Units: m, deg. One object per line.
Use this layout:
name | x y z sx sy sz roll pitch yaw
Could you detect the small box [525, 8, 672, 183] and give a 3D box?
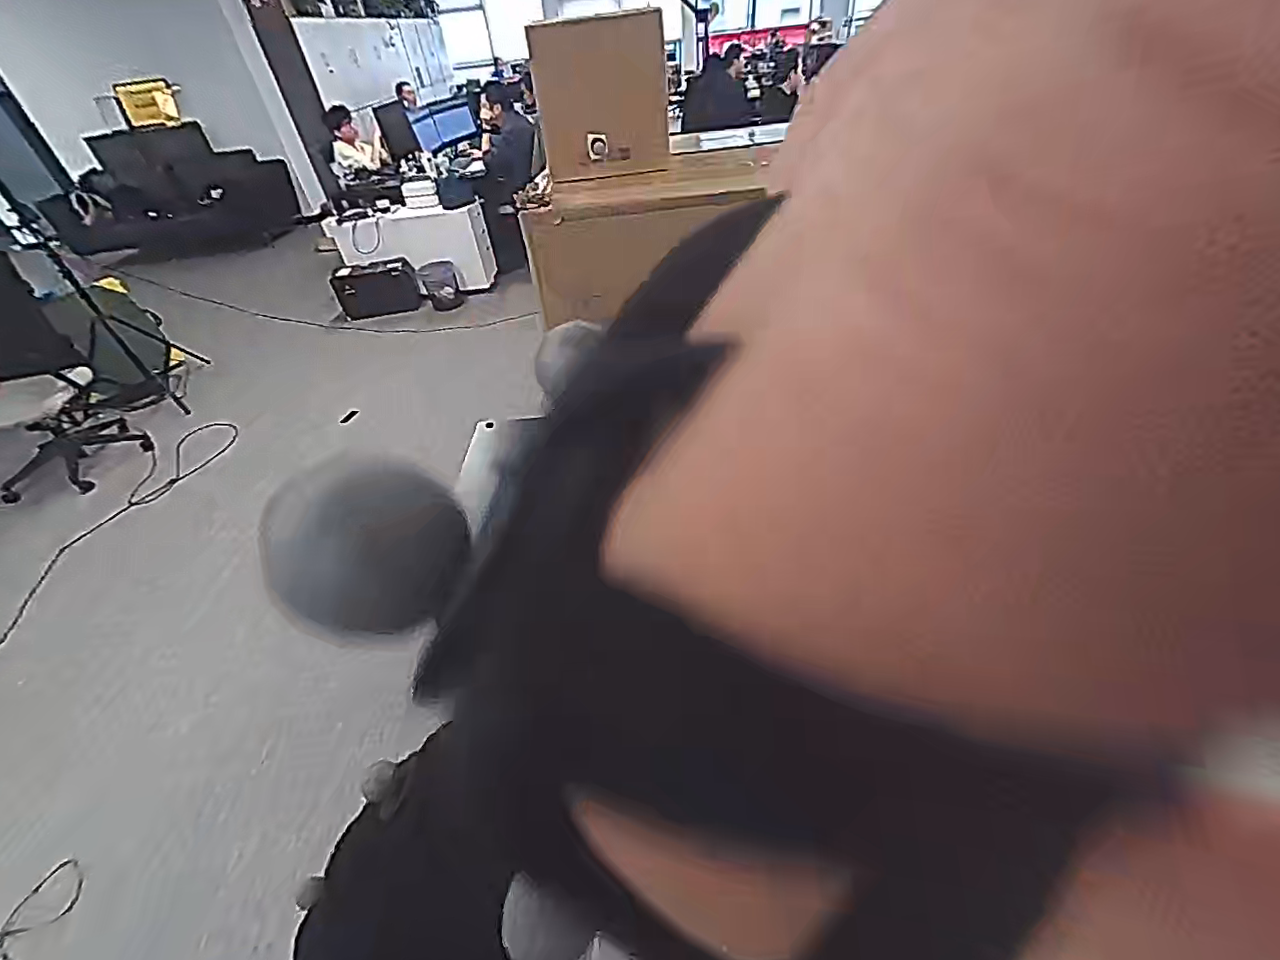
small box | -0.052 -0.521 0.734 0.168 0.176 0.179 -9 43 -1
